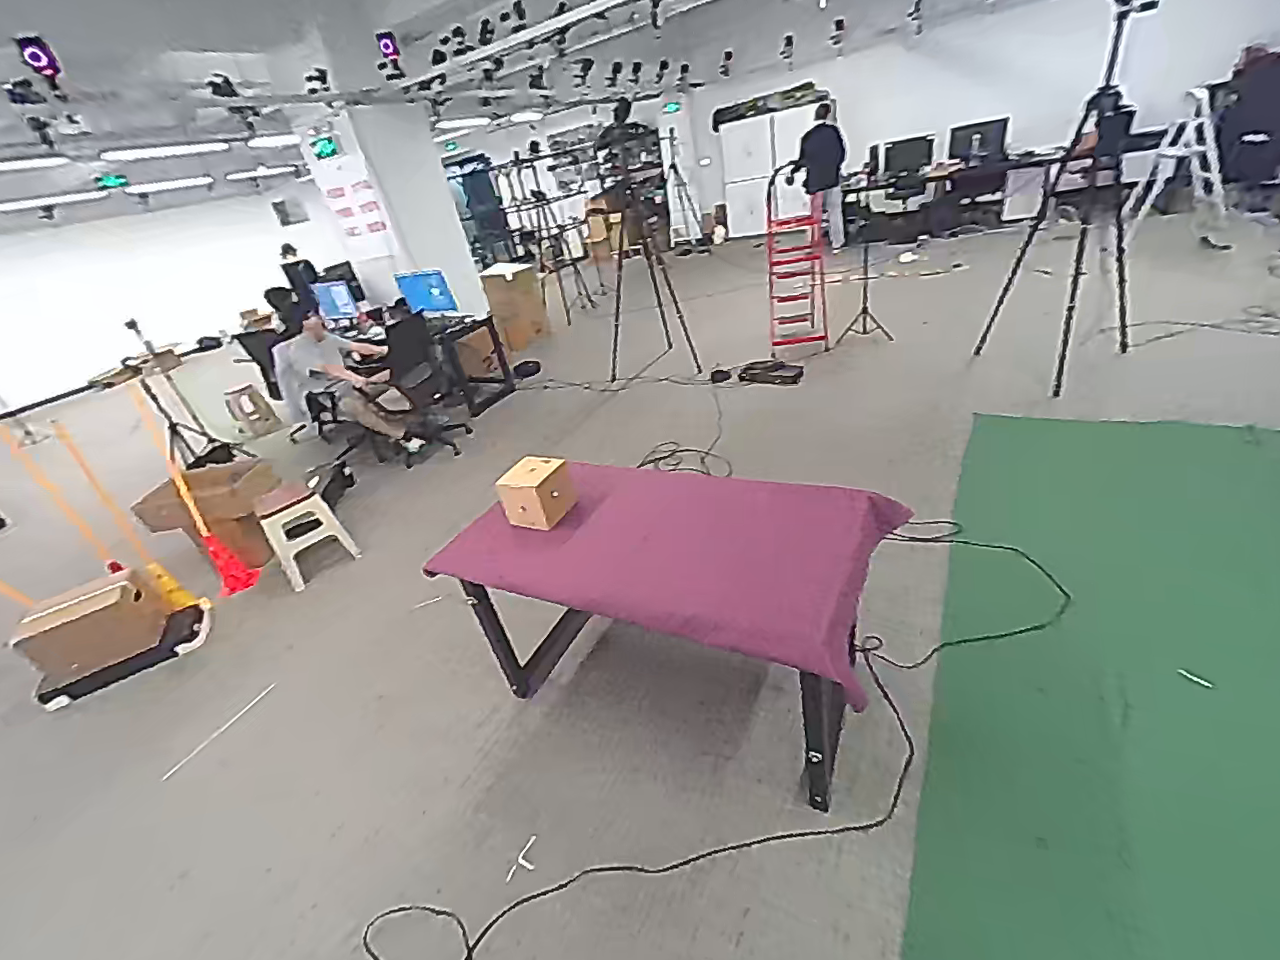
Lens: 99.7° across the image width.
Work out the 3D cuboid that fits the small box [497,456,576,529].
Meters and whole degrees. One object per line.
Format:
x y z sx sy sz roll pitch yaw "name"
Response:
-0.333 0.041 1.783 0.168 0.176 0.179 6 36 28 "small box"
